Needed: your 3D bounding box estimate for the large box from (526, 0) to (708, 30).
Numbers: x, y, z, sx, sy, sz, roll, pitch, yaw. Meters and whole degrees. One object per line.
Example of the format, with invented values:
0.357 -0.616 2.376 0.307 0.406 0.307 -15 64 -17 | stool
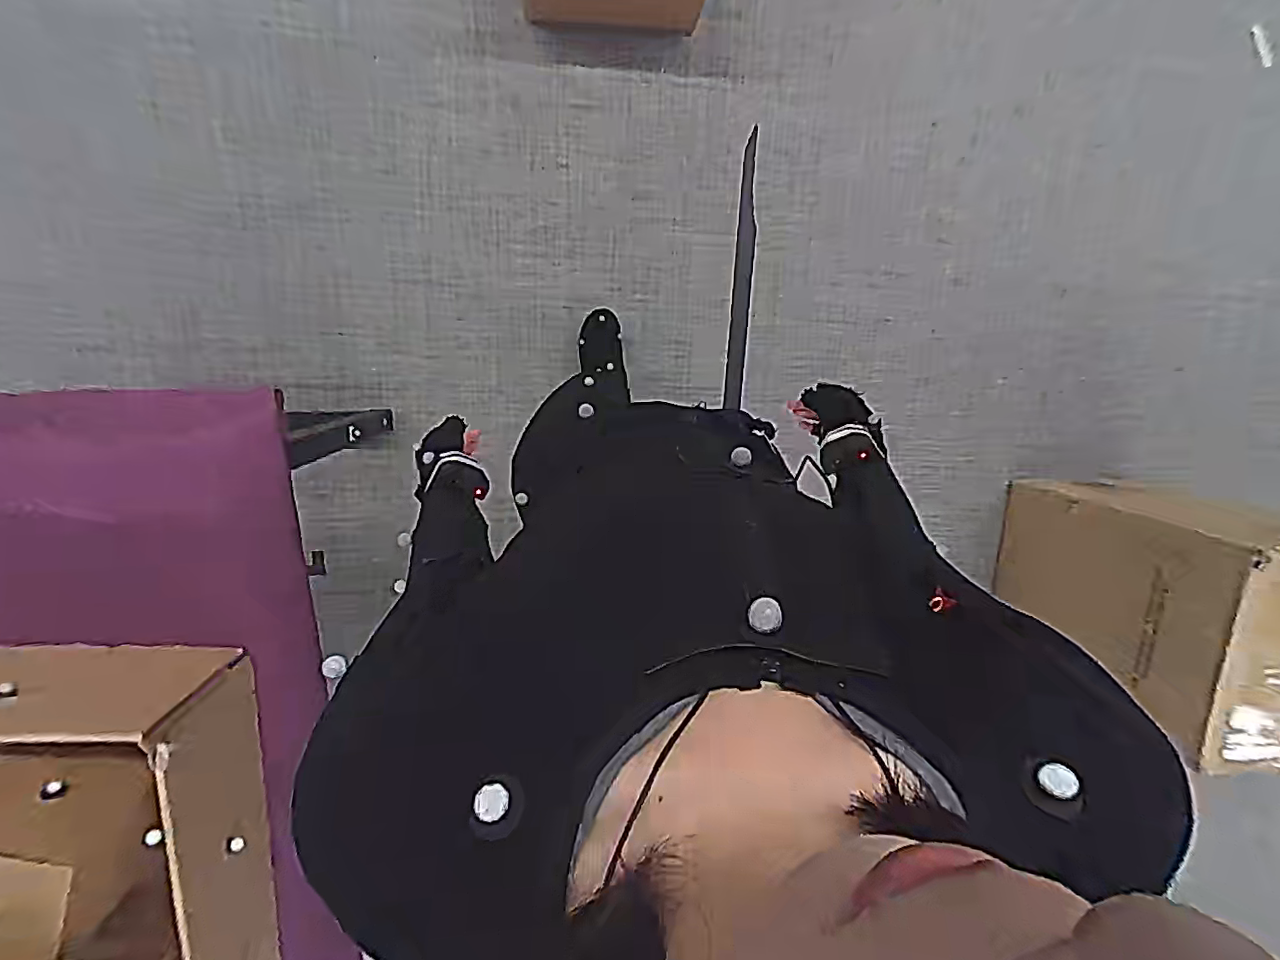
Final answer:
-0.047 -1.176 1.092 0.408 0.320 0.320 -3 103 -7 | large box
